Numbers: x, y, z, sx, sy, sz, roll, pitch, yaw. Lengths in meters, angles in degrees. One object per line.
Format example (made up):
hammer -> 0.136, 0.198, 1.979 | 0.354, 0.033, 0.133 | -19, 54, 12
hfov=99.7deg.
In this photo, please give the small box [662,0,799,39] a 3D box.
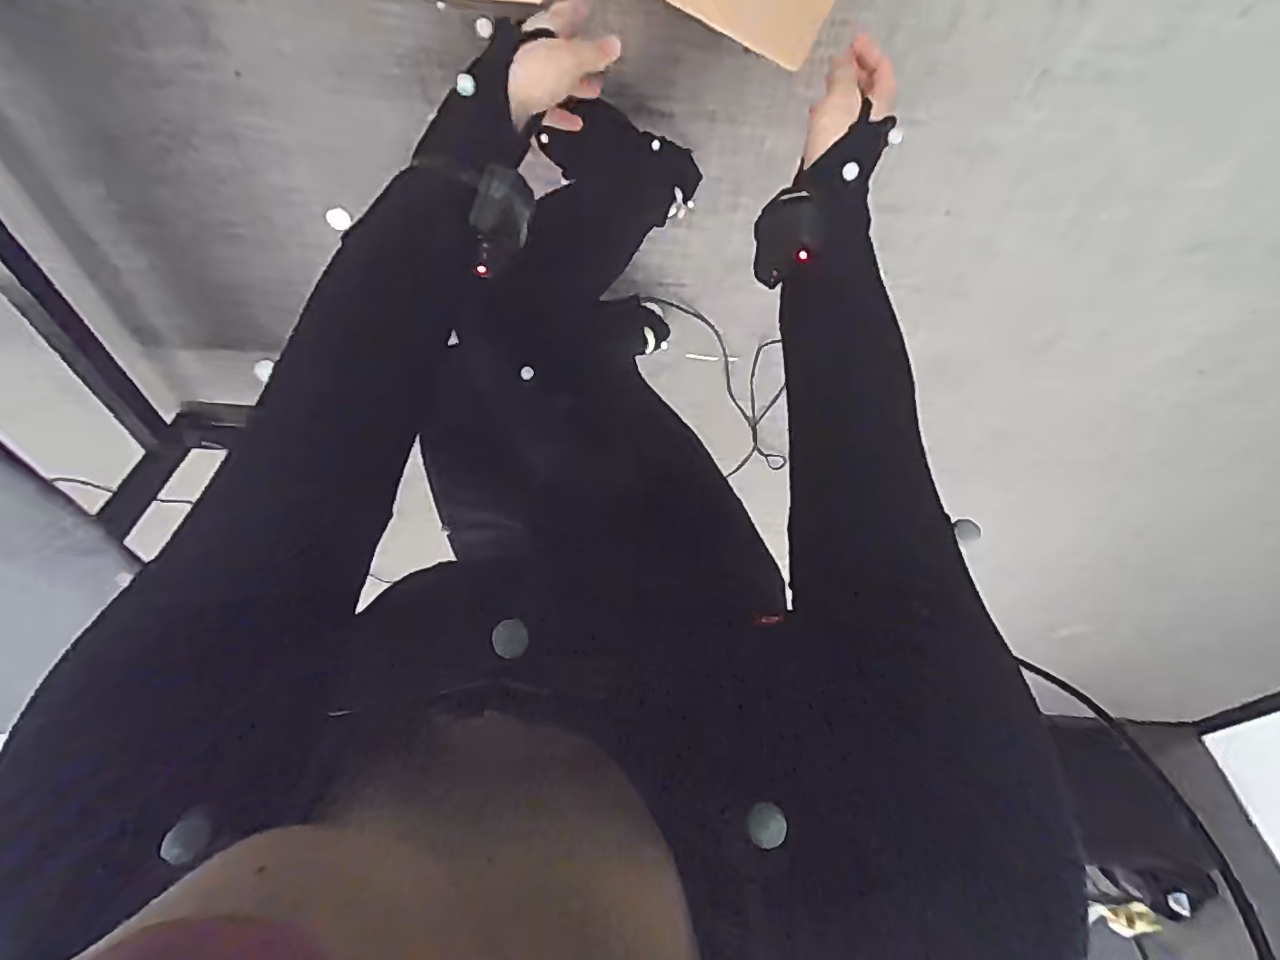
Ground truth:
small box -> 0.108, -0.648, 0.615 | 0.179, 0.176, 0.168 | 9, 140, -10
